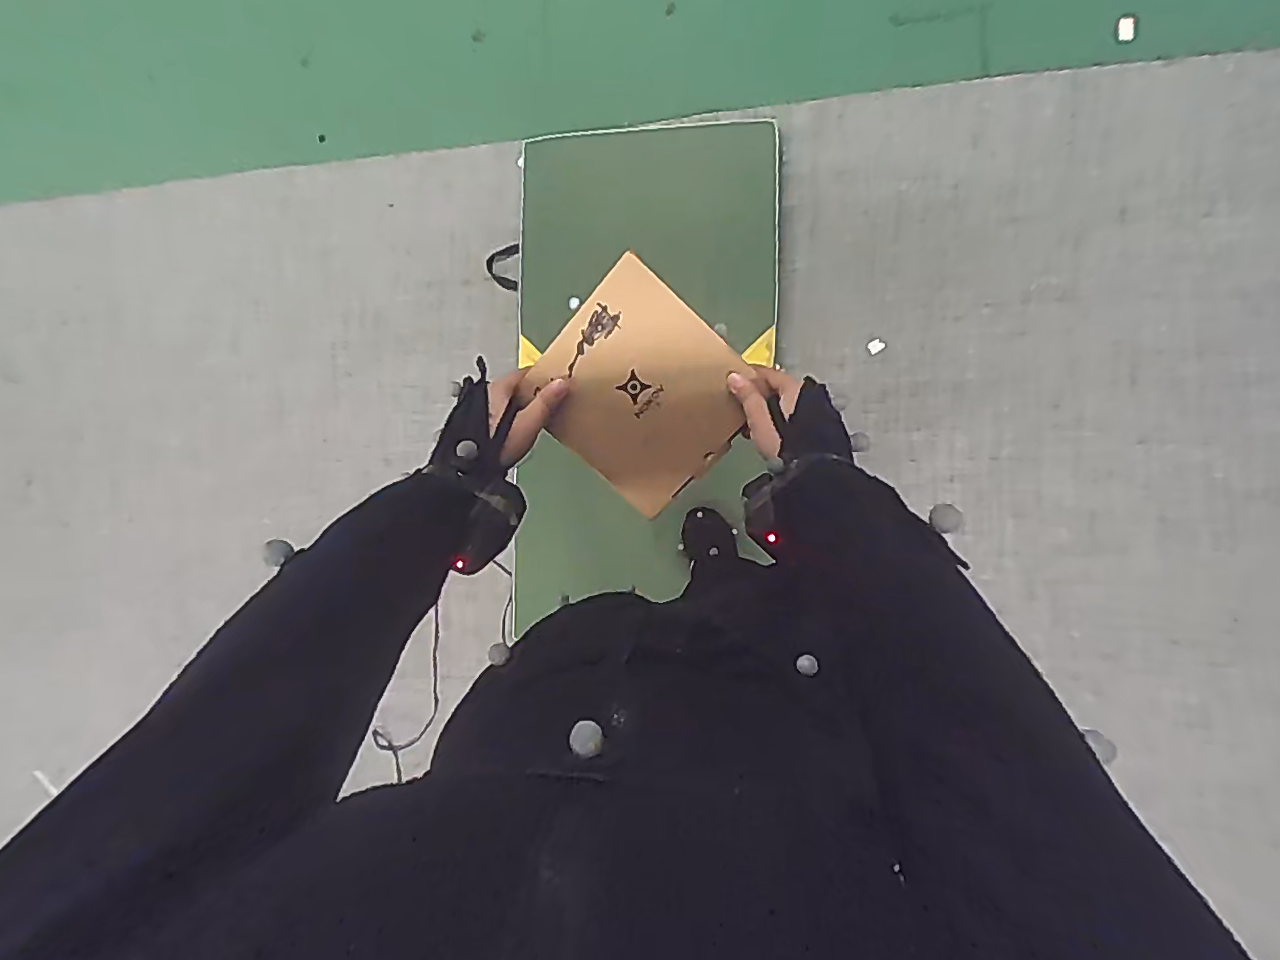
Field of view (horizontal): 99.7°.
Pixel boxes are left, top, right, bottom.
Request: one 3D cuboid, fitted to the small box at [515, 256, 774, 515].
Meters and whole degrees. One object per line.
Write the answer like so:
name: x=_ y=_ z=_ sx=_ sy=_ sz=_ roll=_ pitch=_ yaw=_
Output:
small box: x=0.008 y=-0.100 z=0.557 sx=0.179 sy=0.176 sz=0.168 roll=41 pitch=104 yaw=-8
